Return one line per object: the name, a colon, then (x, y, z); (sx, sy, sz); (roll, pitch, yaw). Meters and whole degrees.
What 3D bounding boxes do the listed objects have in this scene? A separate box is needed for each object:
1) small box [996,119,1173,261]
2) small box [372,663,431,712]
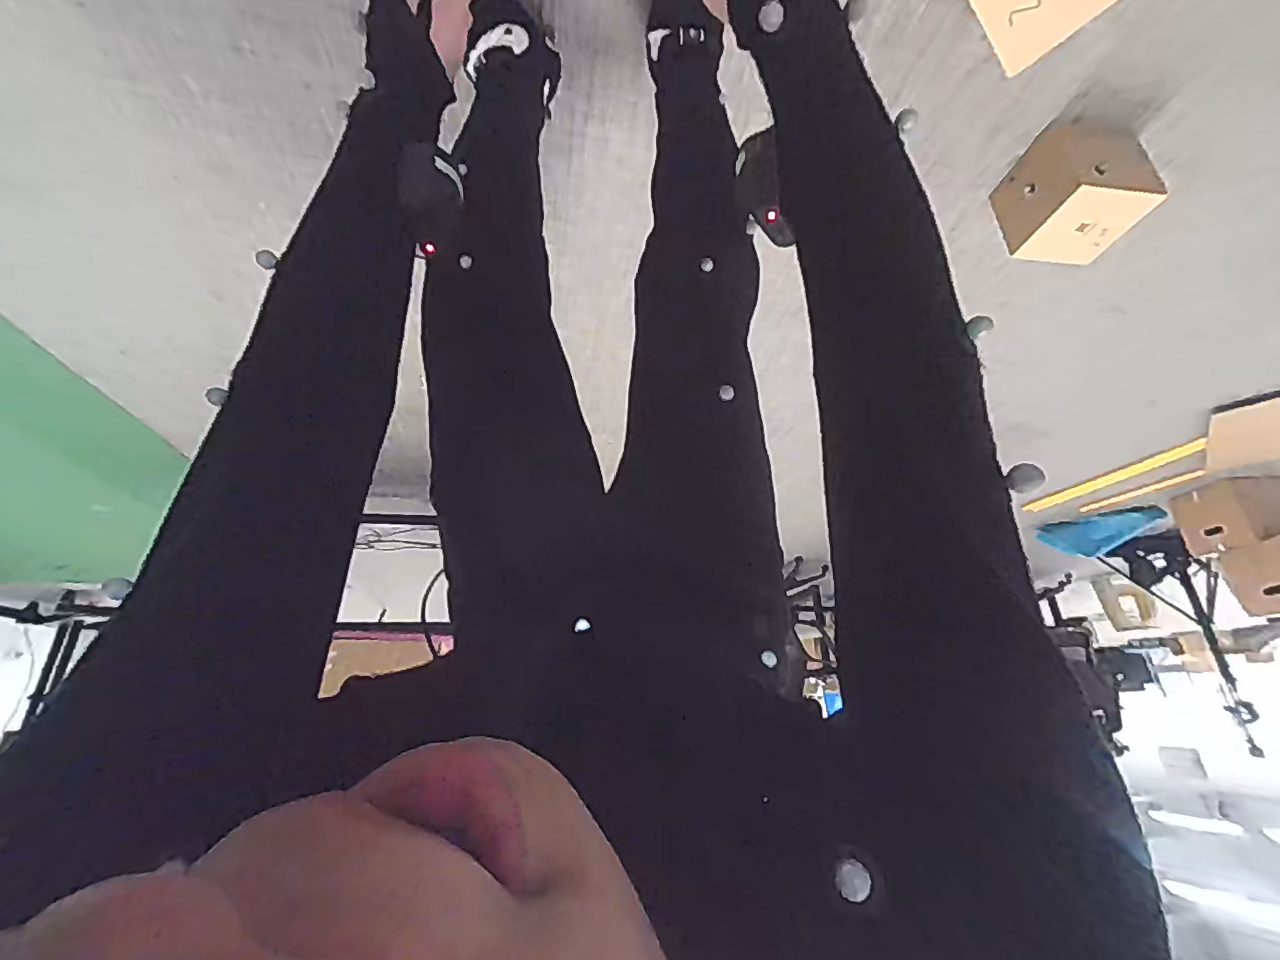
small box: (0.823, -0.547, 1.025); (0.179, 0.176, 0.168); (1, 157, -7)
small box: (-0.937, 0.826, 2.141); (0.168, 0.176, 0.179); (3, 154, -9)
